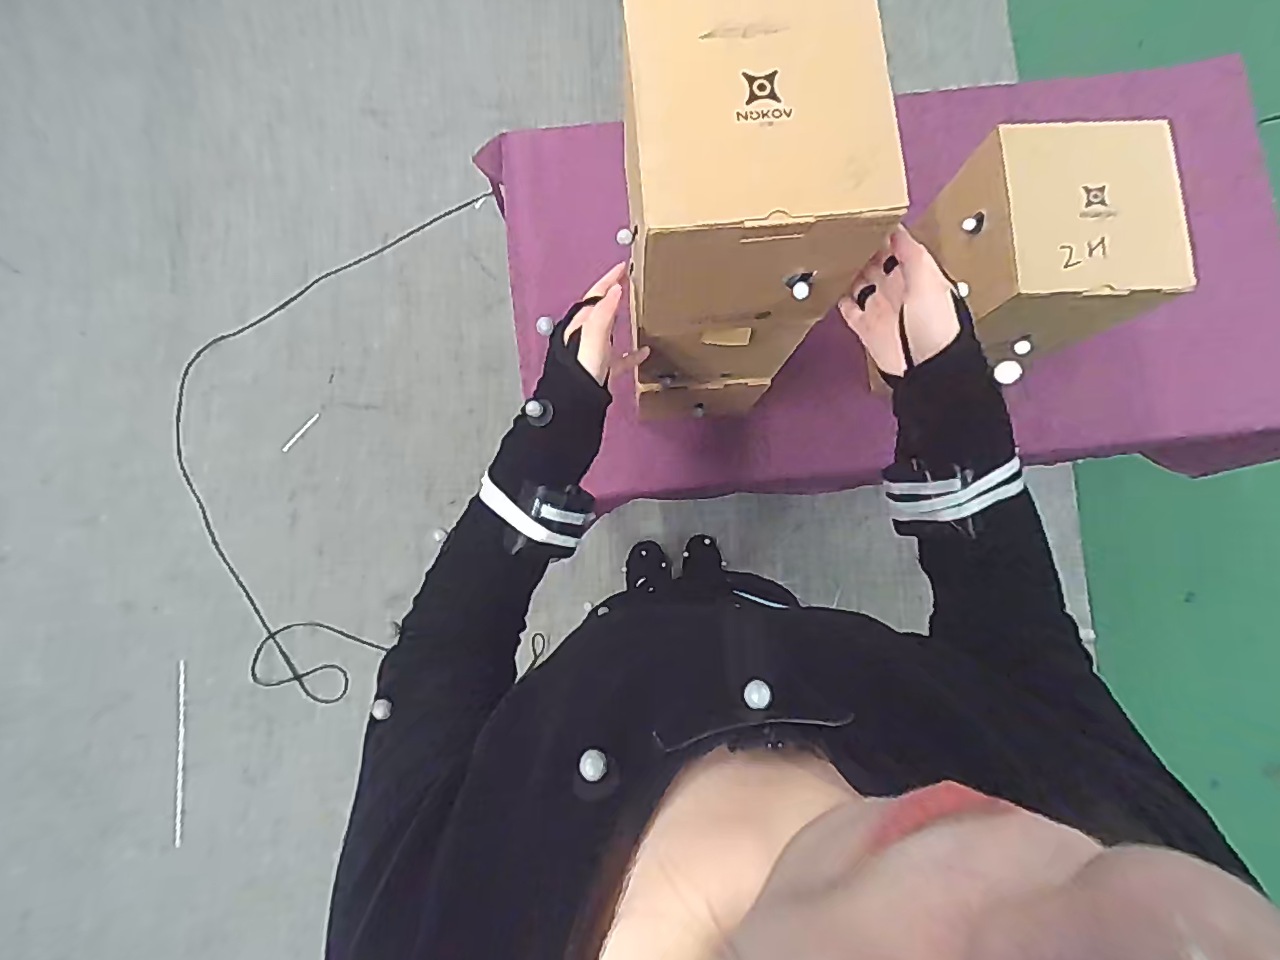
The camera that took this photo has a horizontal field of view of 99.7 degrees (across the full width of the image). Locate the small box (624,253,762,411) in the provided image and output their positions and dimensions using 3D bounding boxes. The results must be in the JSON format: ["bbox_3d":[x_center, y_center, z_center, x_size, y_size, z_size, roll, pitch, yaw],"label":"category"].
[{"bbox_3d":[0.064,-0.195,0.747,0.168,0.176,0.179,-3,85,-2],"label":"small box"}]

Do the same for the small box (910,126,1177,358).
[{"bbox_3d":[0.418,-0.246,0.593,0.168,0.176,0.179,-1,84,-1],"label":"small box"}]

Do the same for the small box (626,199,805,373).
[{"bbox_3d":[0.070,-0.219,0.584,0.168,0.176,0.179,-2,83,-2],"label":"small box"}]

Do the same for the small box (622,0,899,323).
[{"bbox_3d":[0.074,-0.232,0.421,0.168,0.176,0.179,-4,84,-2],"label":"small box"}]
